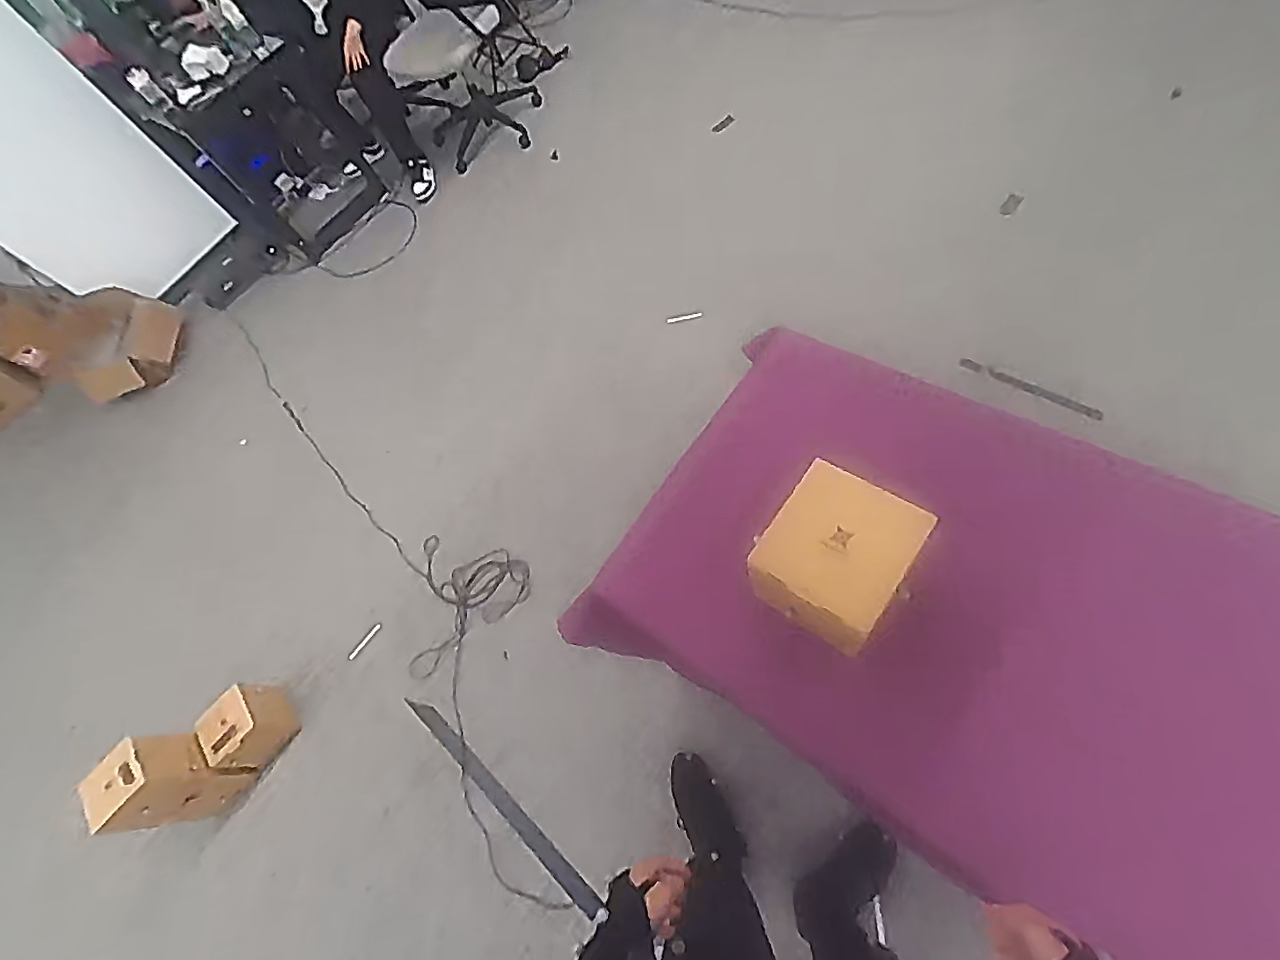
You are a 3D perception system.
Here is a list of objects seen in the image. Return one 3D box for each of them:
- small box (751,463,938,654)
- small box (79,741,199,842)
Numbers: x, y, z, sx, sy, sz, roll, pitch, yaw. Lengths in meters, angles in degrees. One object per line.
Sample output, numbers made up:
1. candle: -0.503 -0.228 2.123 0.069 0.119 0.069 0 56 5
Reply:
1. small box: 0.270 0.113 0.743 0.168 0.176 0.179 31 77 26
2. small box: -1.371 0.850 1.495 0.168 0.176 0.179 37 80 28
